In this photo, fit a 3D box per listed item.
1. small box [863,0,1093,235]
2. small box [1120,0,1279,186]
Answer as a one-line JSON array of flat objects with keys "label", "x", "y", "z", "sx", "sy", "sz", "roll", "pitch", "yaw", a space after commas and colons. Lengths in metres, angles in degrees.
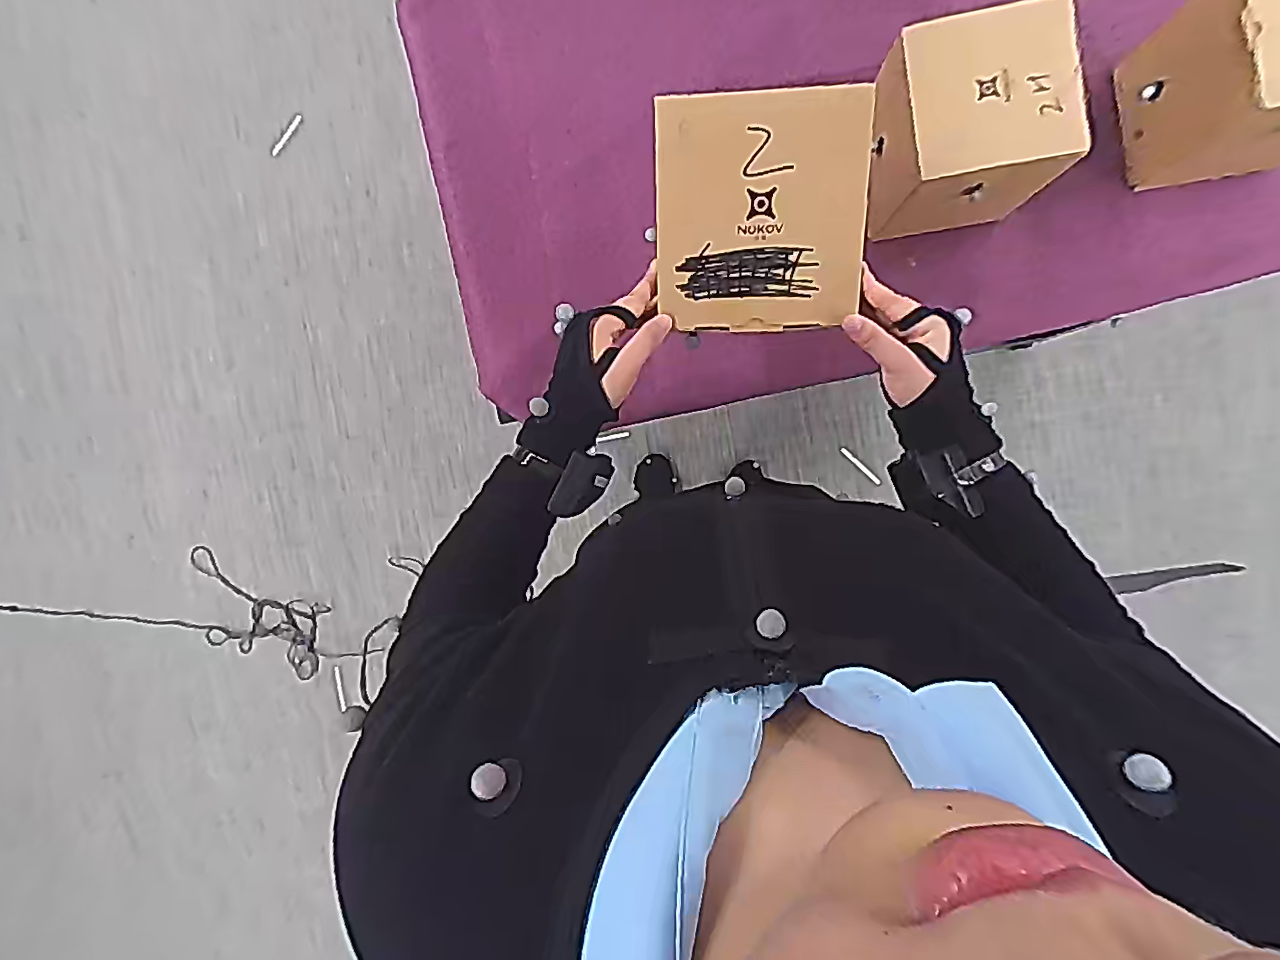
[{"label": "small box", "x": 0.381, "y": -0.414, "z": 0.646, "sx": 0.179, "sy": 0.176, "sz": 0.168, "roll": -8, "pitch": 92, "yaw": 4}, {"label": "small box", "x": 0.711, "y": -0.469, "z": 0.617, "sx": 0.179, "sy": 0.176, "sz": 0.168, "roll": -8, "pitch": 91, "yaw": 6}]
